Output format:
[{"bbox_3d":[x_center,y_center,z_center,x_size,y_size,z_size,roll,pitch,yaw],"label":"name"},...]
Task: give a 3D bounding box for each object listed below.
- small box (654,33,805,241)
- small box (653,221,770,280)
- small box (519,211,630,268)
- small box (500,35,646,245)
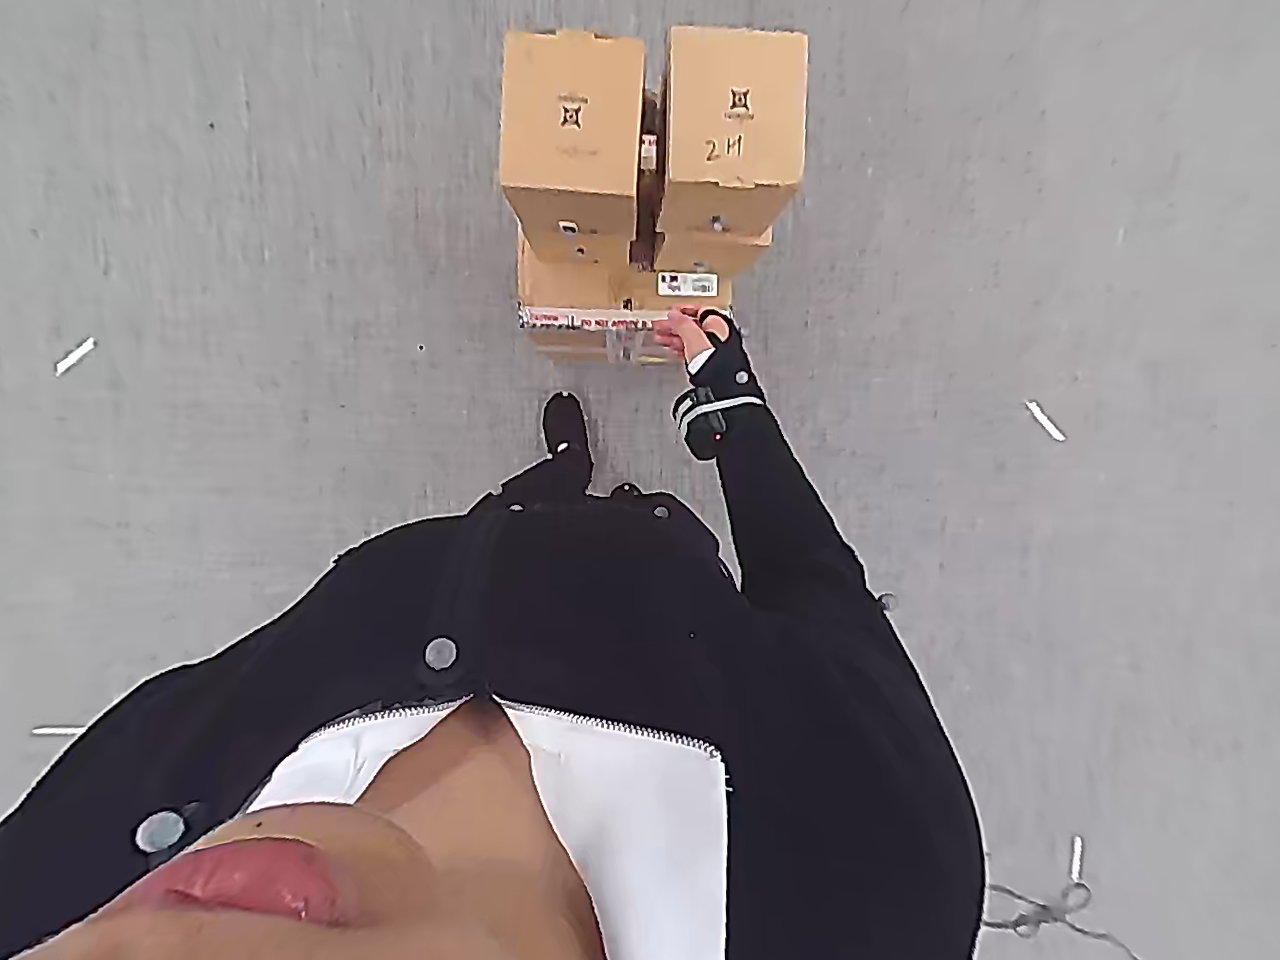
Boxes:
[{"bbox_3d":[0.109,-0.442,0.723,0.168,0.176,0.179,0,96,-4],"label":"small box"},{"bbox_3d":[0.113,-0.445,0.888,0.168,0.176,0.179,2,96,-4],"label":"small box"},{"bbox_3d":[-0.095,-0.456,0.876,0.168,0.176,0.179,3,97,-2],"label":"small box"},{"bbox_3d":[-0.081,-0.432,0.714,0.168,0.176,0.179,3,97,0],"label":"small box"}]
